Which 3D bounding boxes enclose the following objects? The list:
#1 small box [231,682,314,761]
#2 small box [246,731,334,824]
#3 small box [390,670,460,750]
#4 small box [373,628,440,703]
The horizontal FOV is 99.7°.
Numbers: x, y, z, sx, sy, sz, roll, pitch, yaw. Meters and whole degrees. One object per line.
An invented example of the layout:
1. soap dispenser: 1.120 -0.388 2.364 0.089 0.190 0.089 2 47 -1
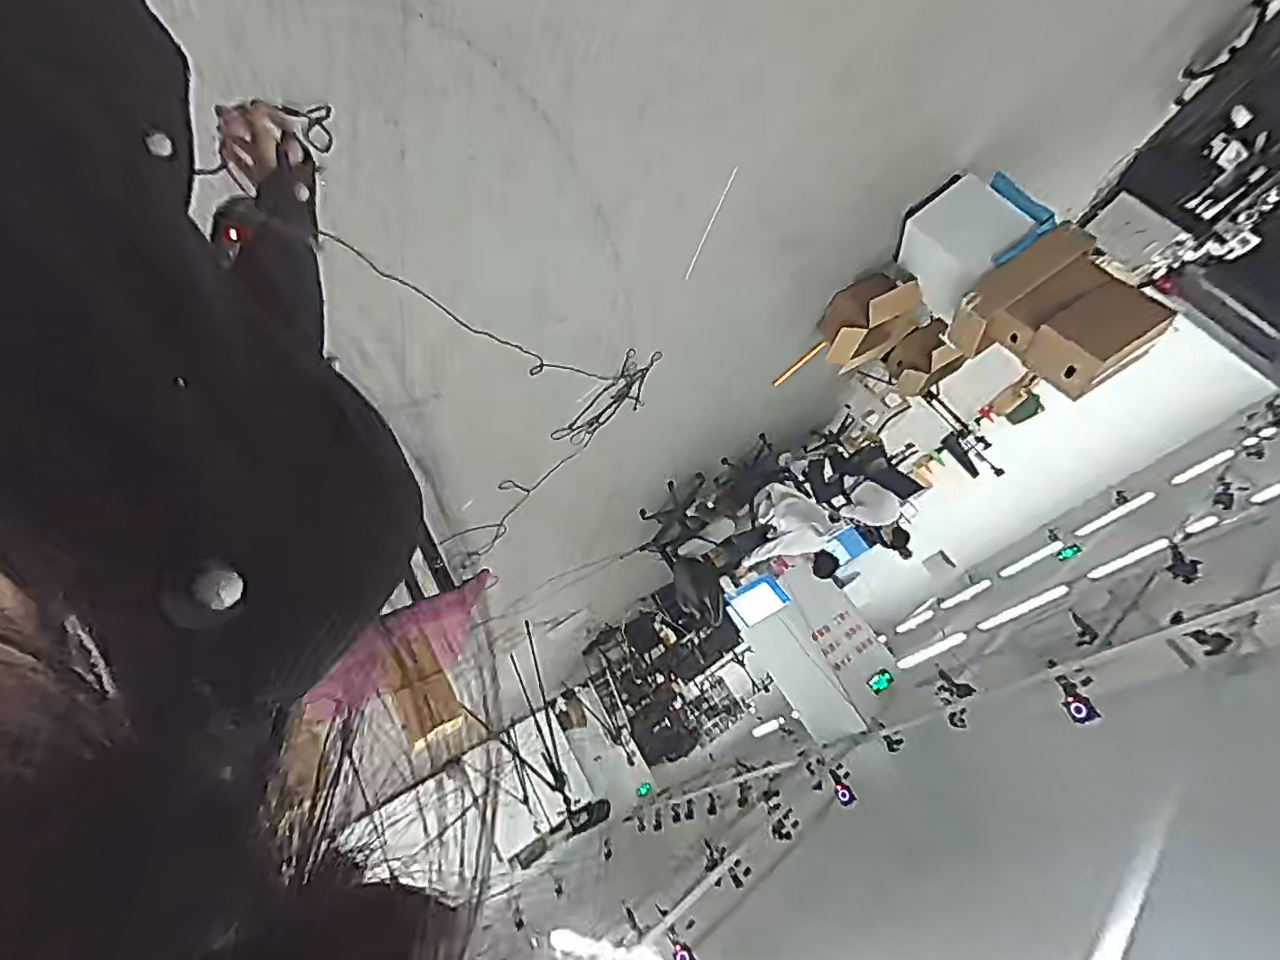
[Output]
1. small box: -1.111 0.741 1.642 0.168 0.176 0.179 -20 157 -34
2. small box: -1.023 0.868 1.585 0.179 0.176 0.168 -18 155 -37
3. small box: -0.721 0.760 1.802 0.168 0.176 0.179 -19 154 -36
4. small box: -0.811 0.640 1.869 0.168 0.176 0.179 -20 154 -34
